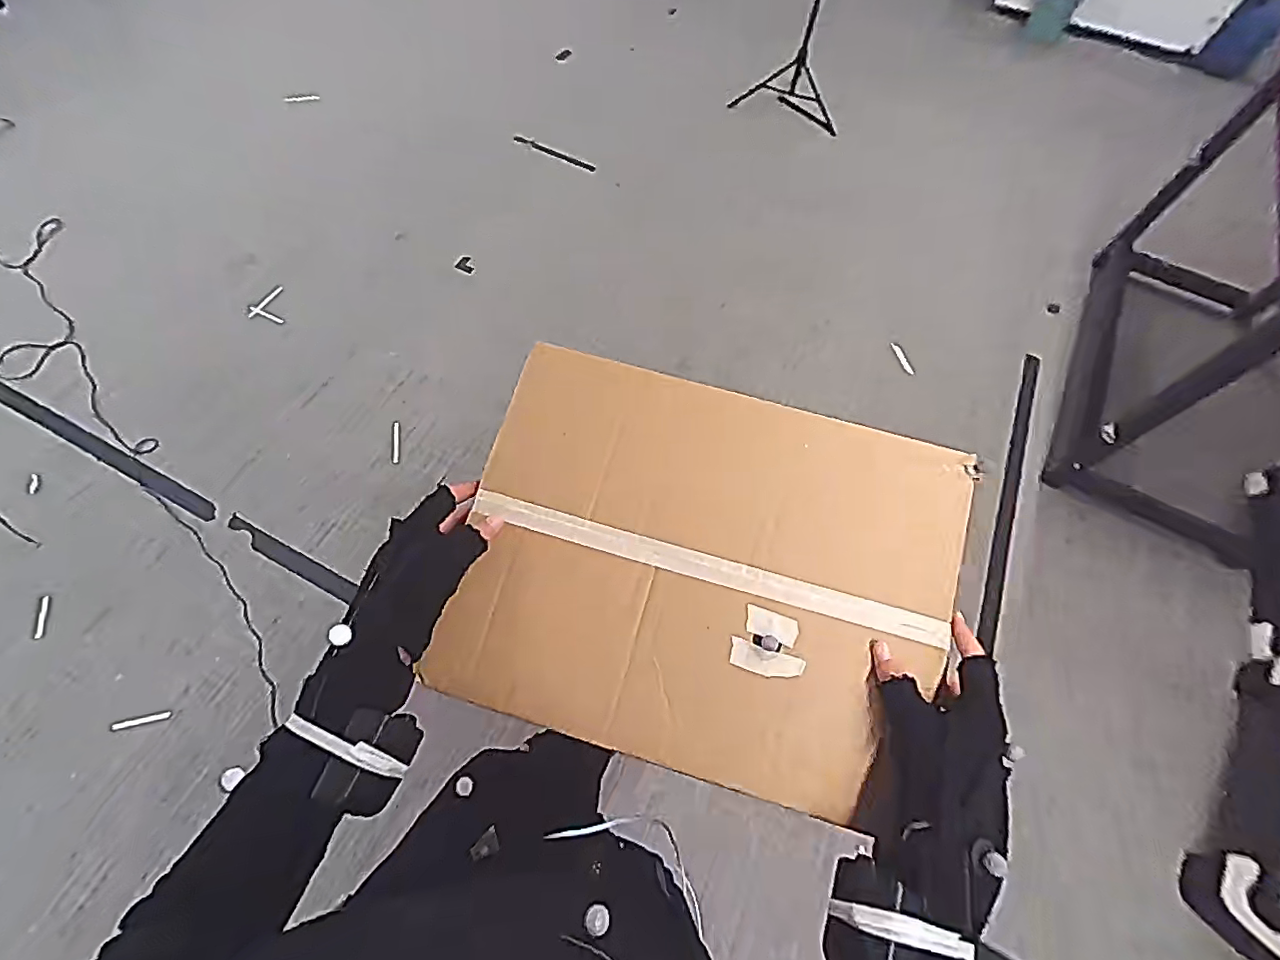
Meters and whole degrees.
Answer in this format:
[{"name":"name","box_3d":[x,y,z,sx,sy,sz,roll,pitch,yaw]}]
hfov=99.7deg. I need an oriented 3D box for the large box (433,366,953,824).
[{"name":"large box","box_3d":[0.055,0.115,0.616,0.408,0.320,0.320,16,78,5]}]
